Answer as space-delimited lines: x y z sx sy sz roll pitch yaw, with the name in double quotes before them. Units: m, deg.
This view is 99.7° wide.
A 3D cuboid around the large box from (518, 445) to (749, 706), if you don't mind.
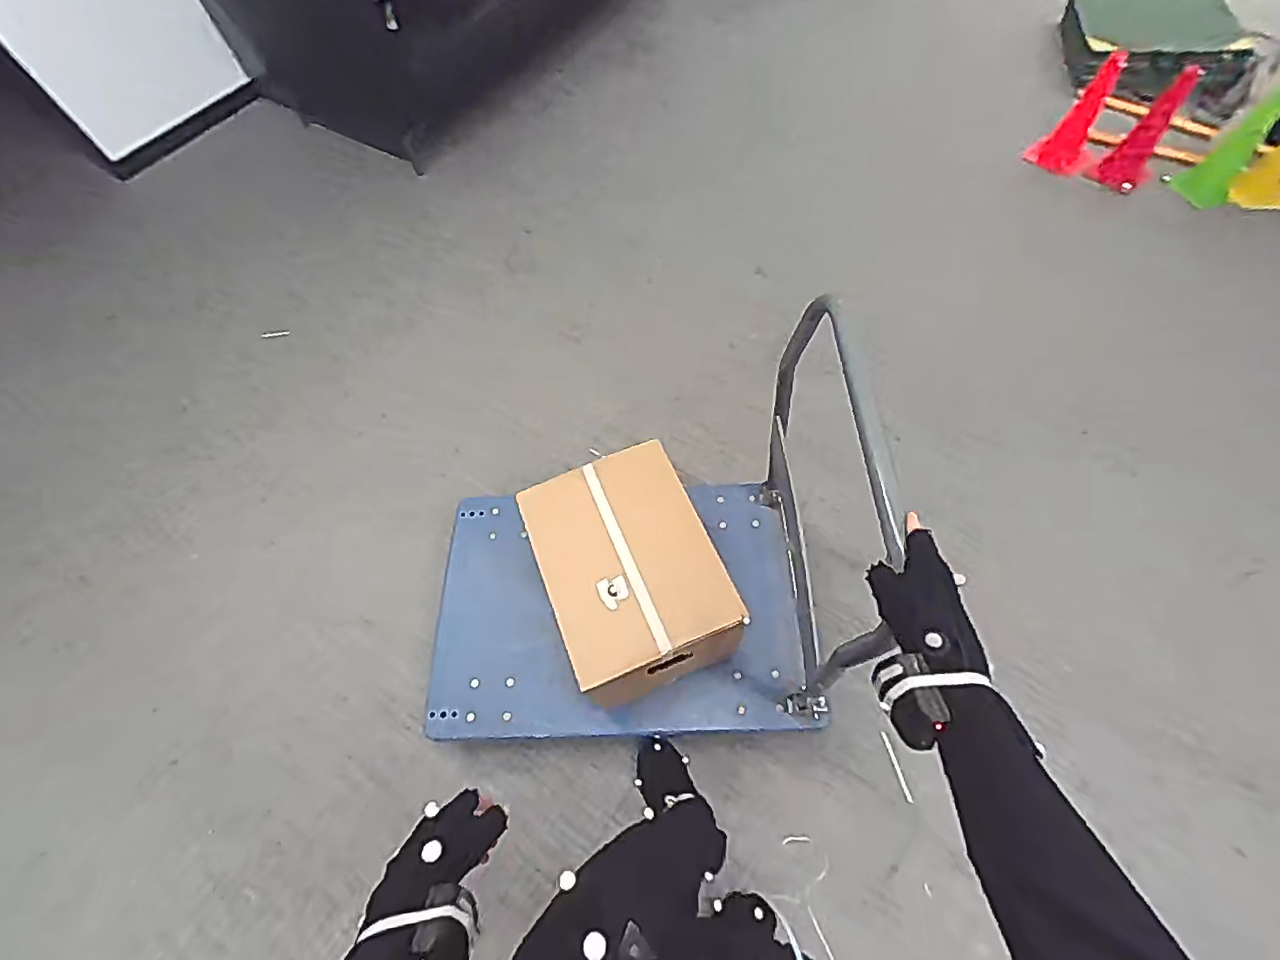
"large box" -0.019 0.207 1.143 0.320 0.320 0.408 -23 63 -7
